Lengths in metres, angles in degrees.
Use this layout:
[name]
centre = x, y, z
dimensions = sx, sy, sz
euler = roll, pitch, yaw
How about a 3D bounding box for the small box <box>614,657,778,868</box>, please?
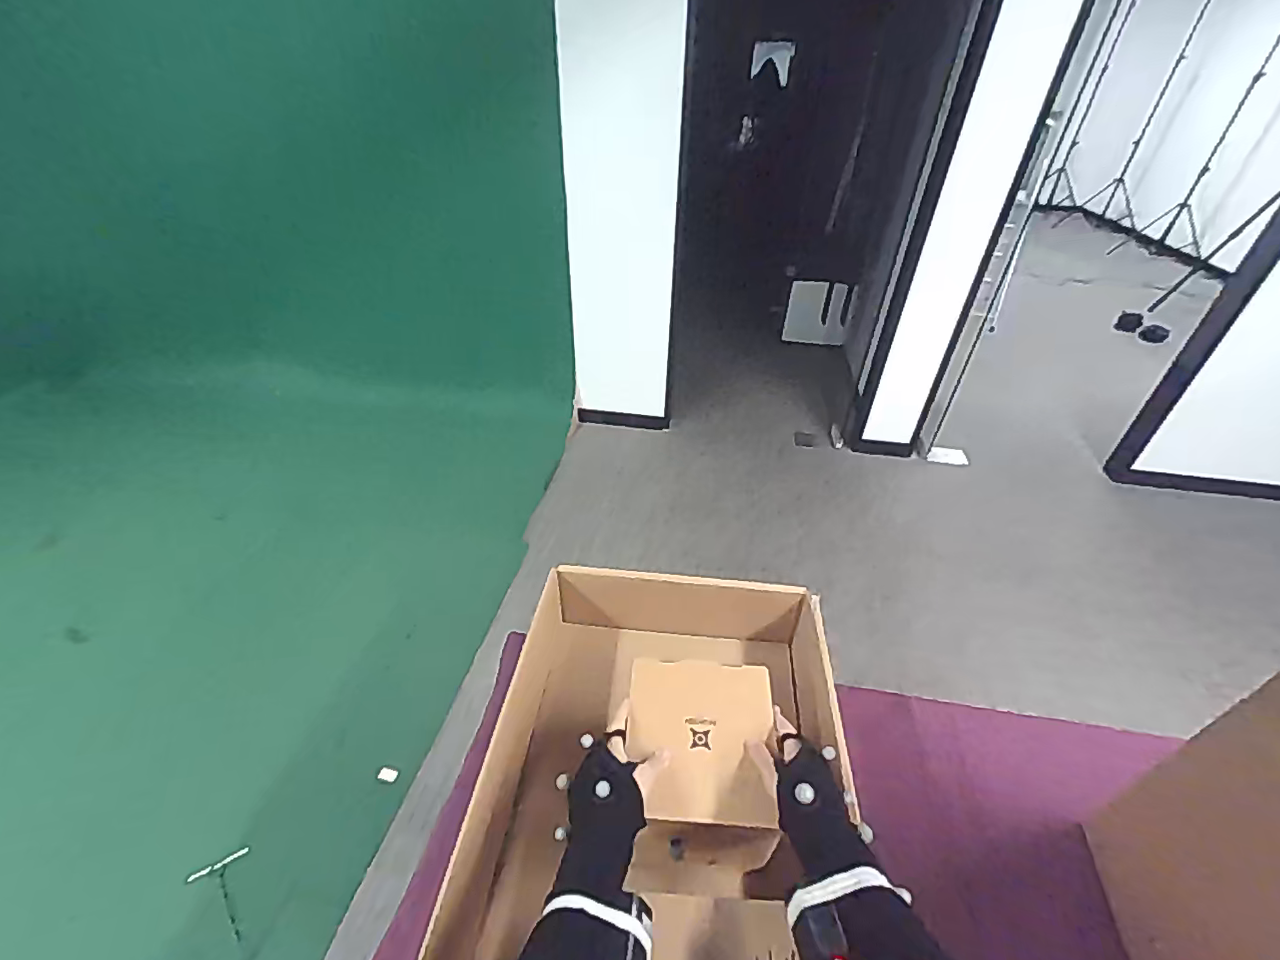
[small box]
centre = 0.064, 0.337, 0.645
dimensions = 0.168, 0.176, 0.179
euler = 2, 40, 4
